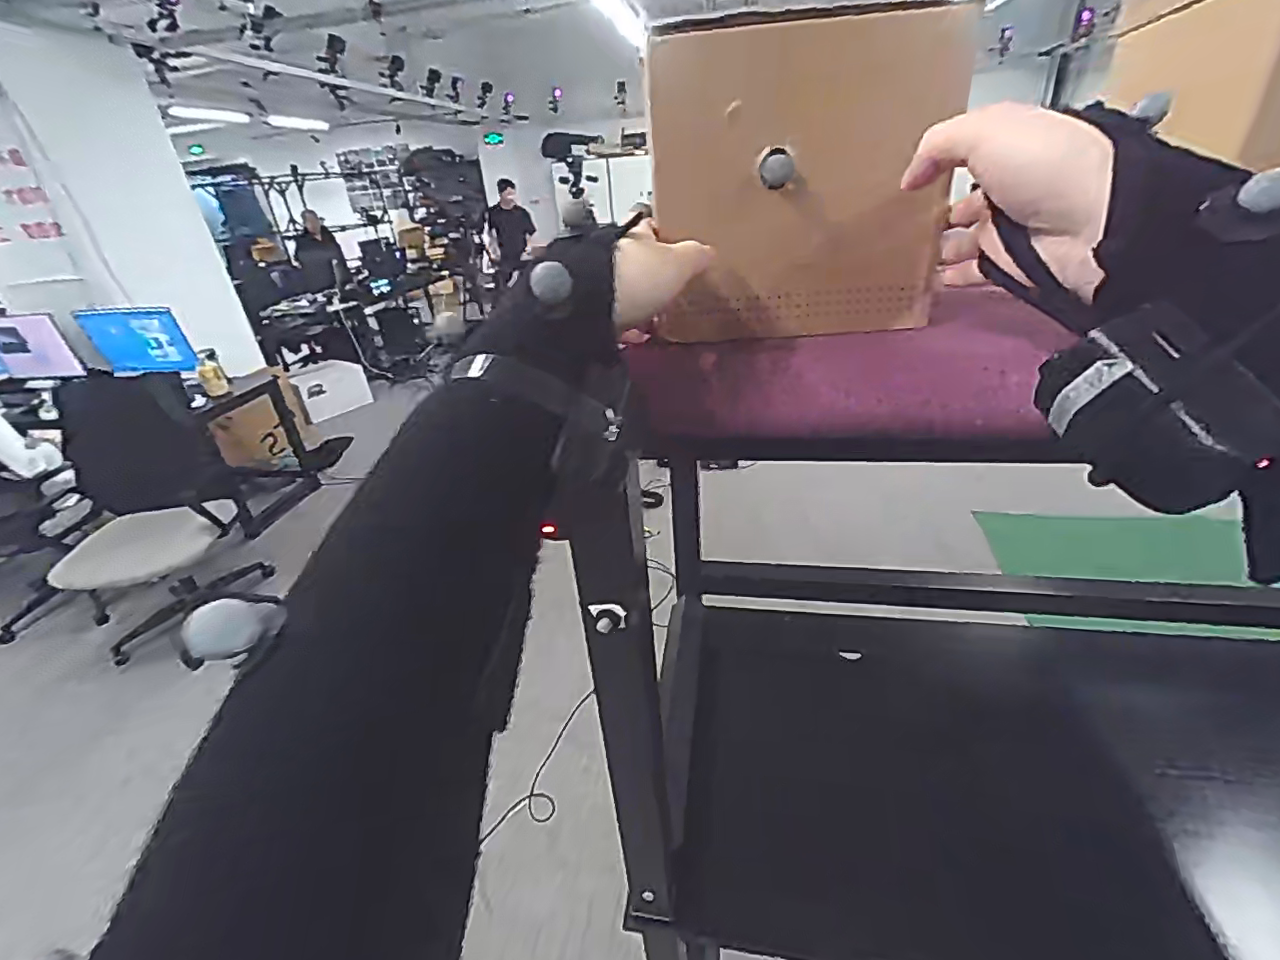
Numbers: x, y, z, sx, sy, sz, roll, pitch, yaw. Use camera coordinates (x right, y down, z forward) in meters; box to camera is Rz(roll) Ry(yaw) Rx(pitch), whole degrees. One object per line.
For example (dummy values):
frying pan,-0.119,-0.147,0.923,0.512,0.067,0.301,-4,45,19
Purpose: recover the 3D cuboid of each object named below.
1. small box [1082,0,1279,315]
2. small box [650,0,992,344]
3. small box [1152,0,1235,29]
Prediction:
small box,0.427,-0.205,0.345,0.179,0.176,0.168,3,29,12
small box,0.101,-0.201,0.382,0.179,0.176,0.168,-3,30,3
small box,0.417,-0.352,0.273,0.179,0.176,0.168,3,29,12
